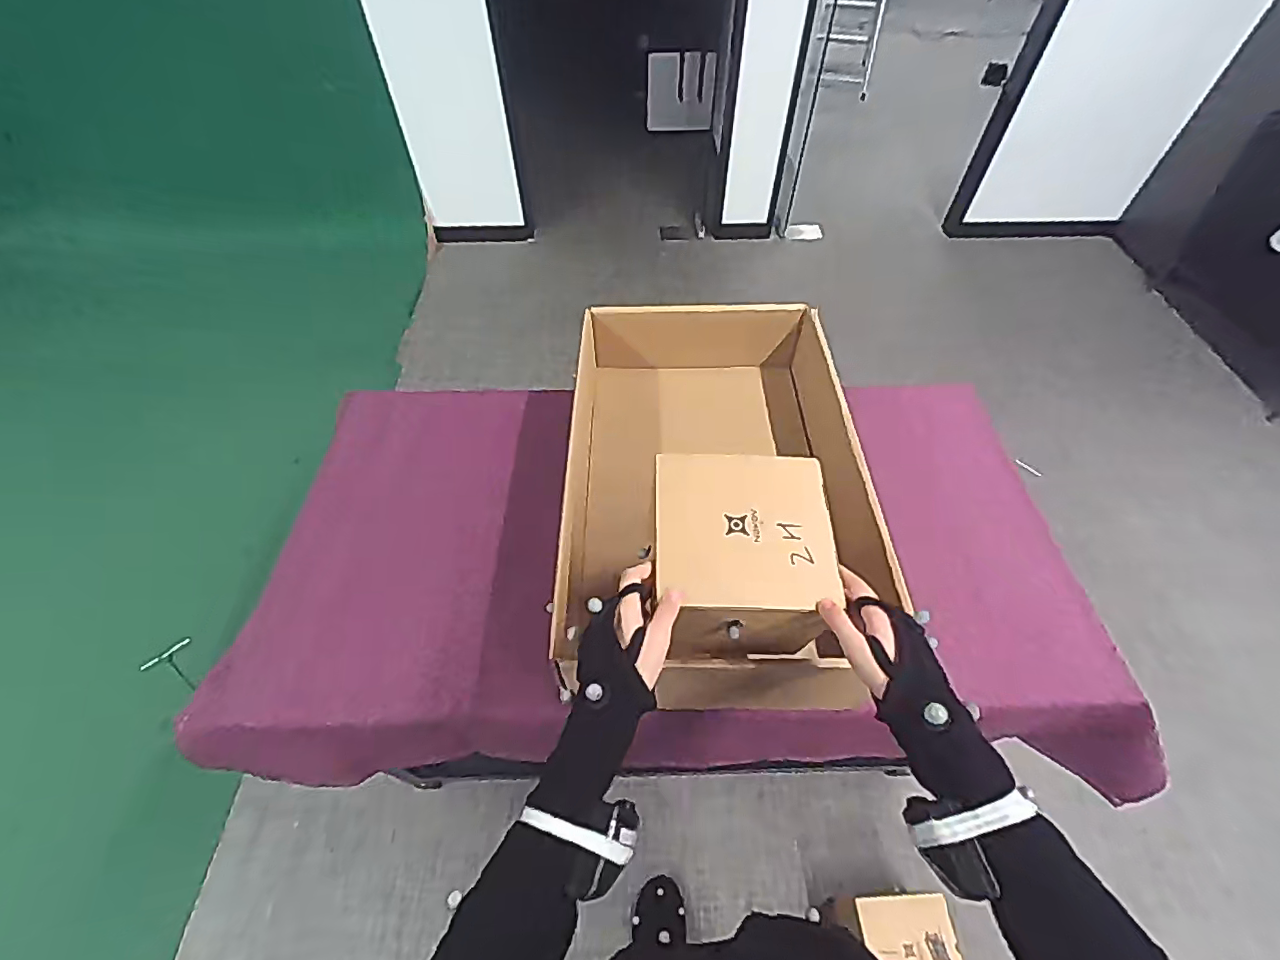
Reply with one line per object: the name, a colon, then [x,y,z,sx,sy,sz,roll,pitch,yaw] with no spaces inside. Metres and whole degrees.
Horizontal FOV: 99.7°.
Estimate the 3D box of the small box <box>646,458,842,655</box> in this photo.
small box: [0.097,0.091,0.597,0.179,0.176,0.168,3,60,-2]
